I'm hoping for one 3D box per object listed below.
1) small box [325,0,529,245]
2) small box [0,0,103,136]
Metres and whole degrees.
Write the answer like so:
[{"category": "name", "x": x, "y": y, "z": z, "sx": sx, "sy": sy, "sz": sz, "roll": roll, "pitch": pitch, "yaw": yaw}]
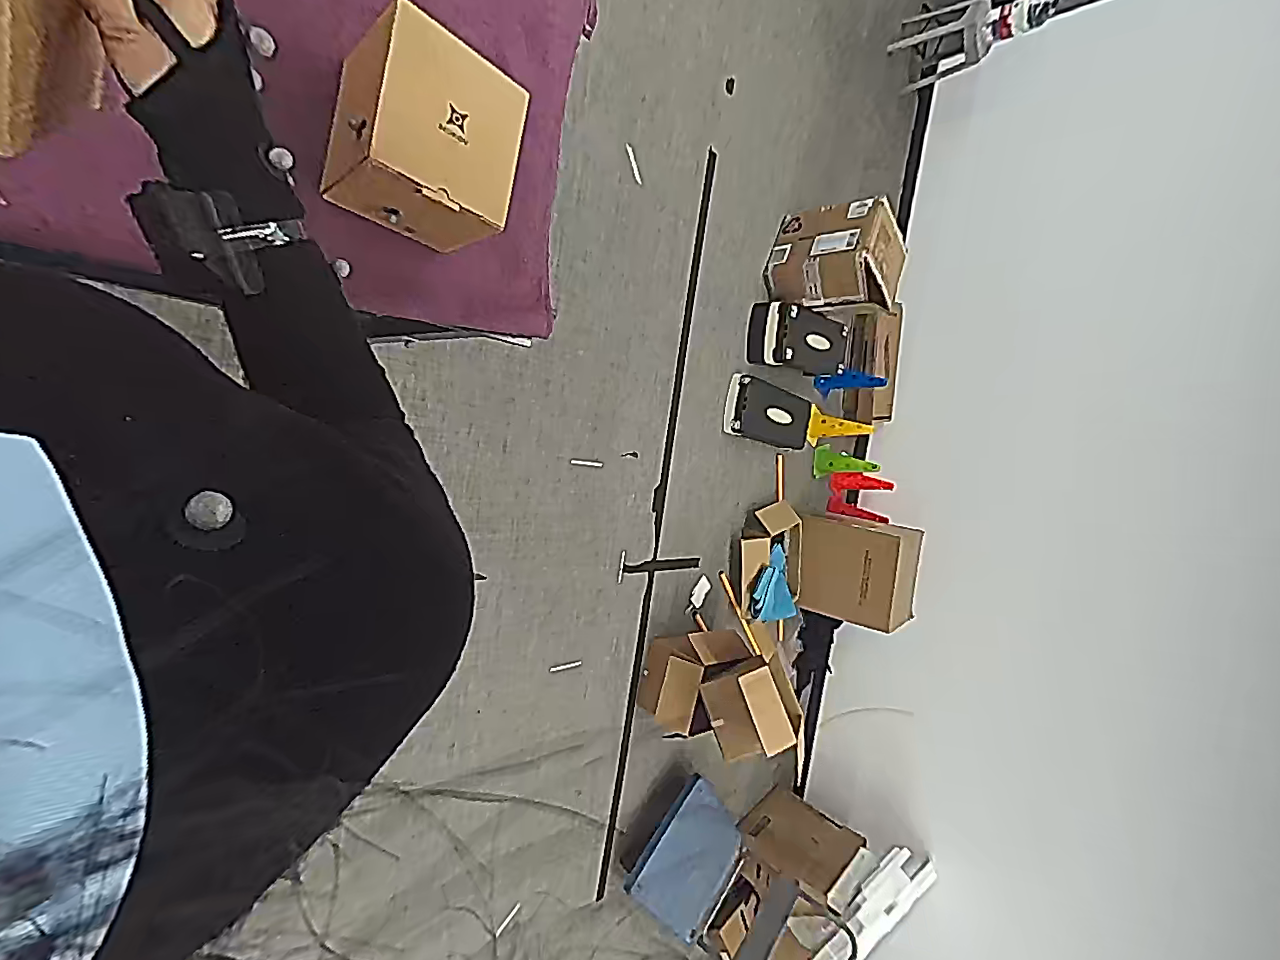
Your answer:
[{"category": "small box", "x": -0.266, "y": -0.420, "z": 0.670, "sx": 0.168, "sy": 0.176, "sz": 0.179, "roll": 11, "pitch": 90, "yaw": -47}, {"category": "small box", "x": -0.377, "y": -0.294, "z": 0.250, "sx": 0.168, "sy": 0.179, "sz": 0.176, "roll": 14, "pitch": 120, "yaw": -40}]
